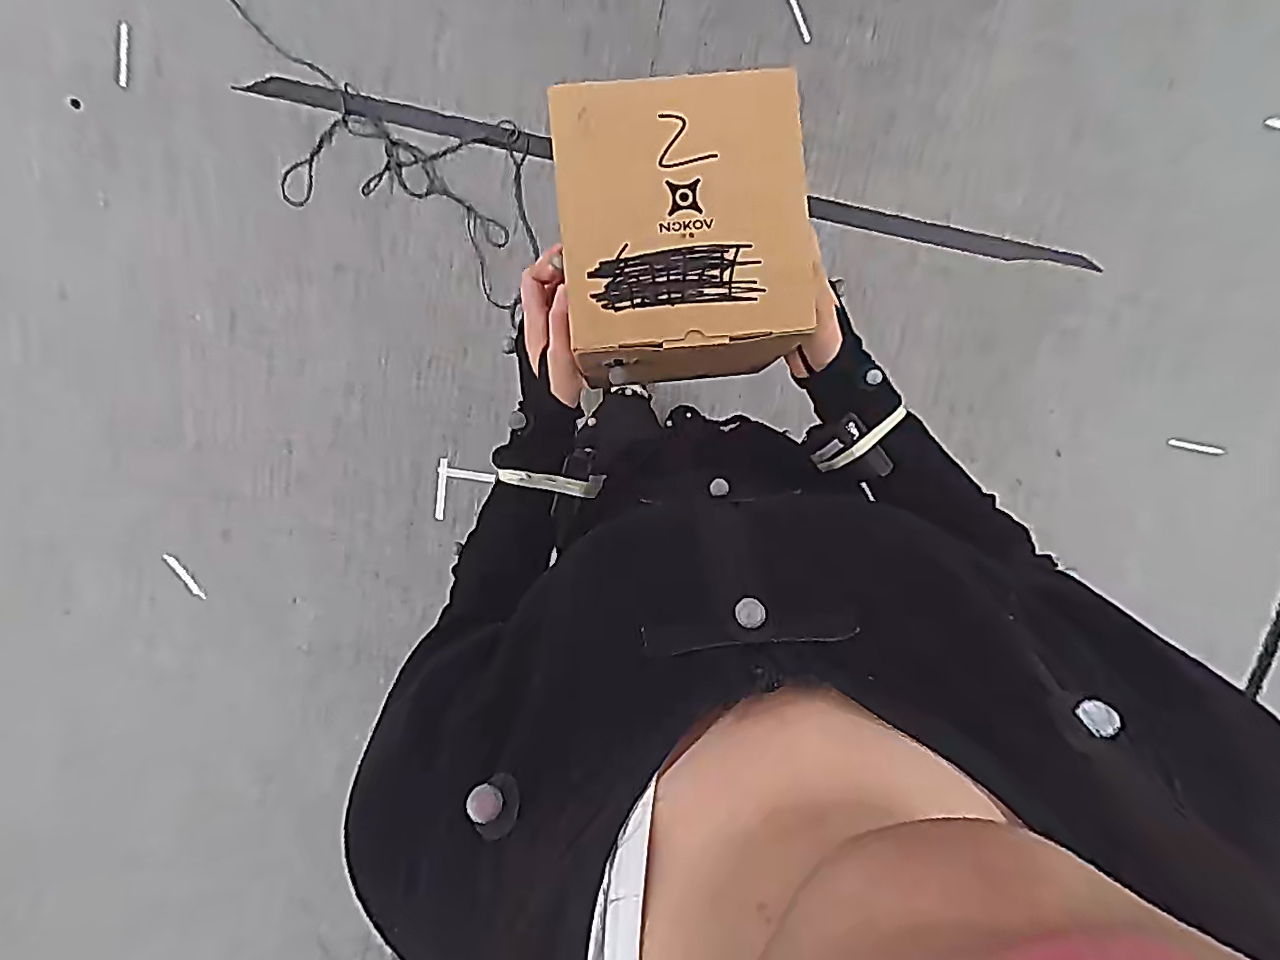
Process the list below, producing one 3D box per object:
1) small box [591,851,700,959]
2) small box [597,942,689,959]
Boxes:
[{"bbox_3d":[0.004,0.809,0.955,0.168,0.176,0.179,9,100,-2],"label":"small box"},{"bbox_3d":[0.002,0.835,0.795,0.168,0.176,0.179,10,101,-2],"label":"small box"}]
